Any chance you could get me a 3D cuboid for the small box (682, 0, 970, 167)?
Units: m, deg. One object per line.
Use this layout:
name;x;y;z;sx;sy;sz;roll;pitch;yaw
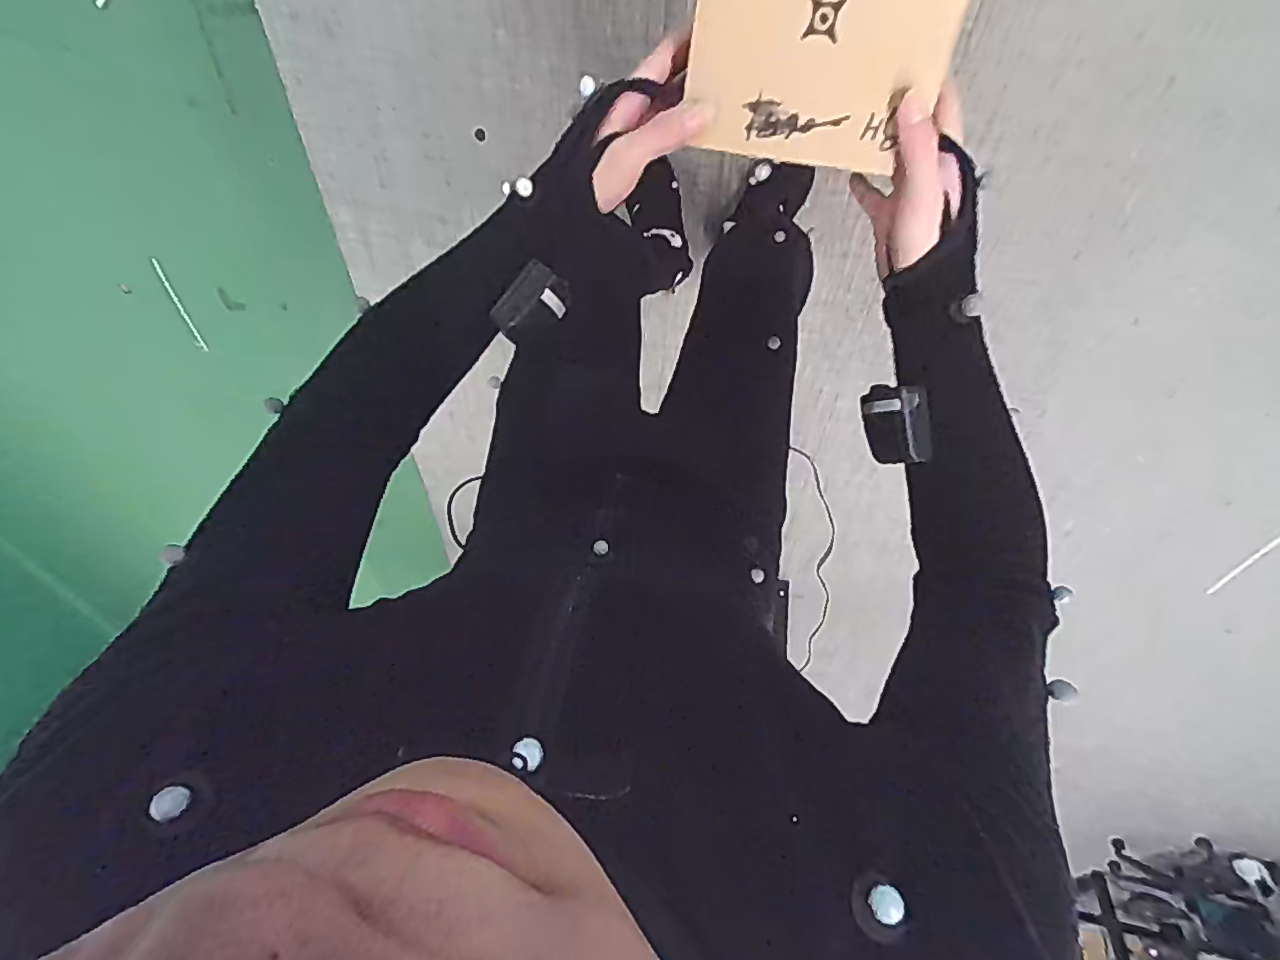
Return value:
small box;0.133;-0.345;0.401;0.168;0.176;0.179;12;122;5
